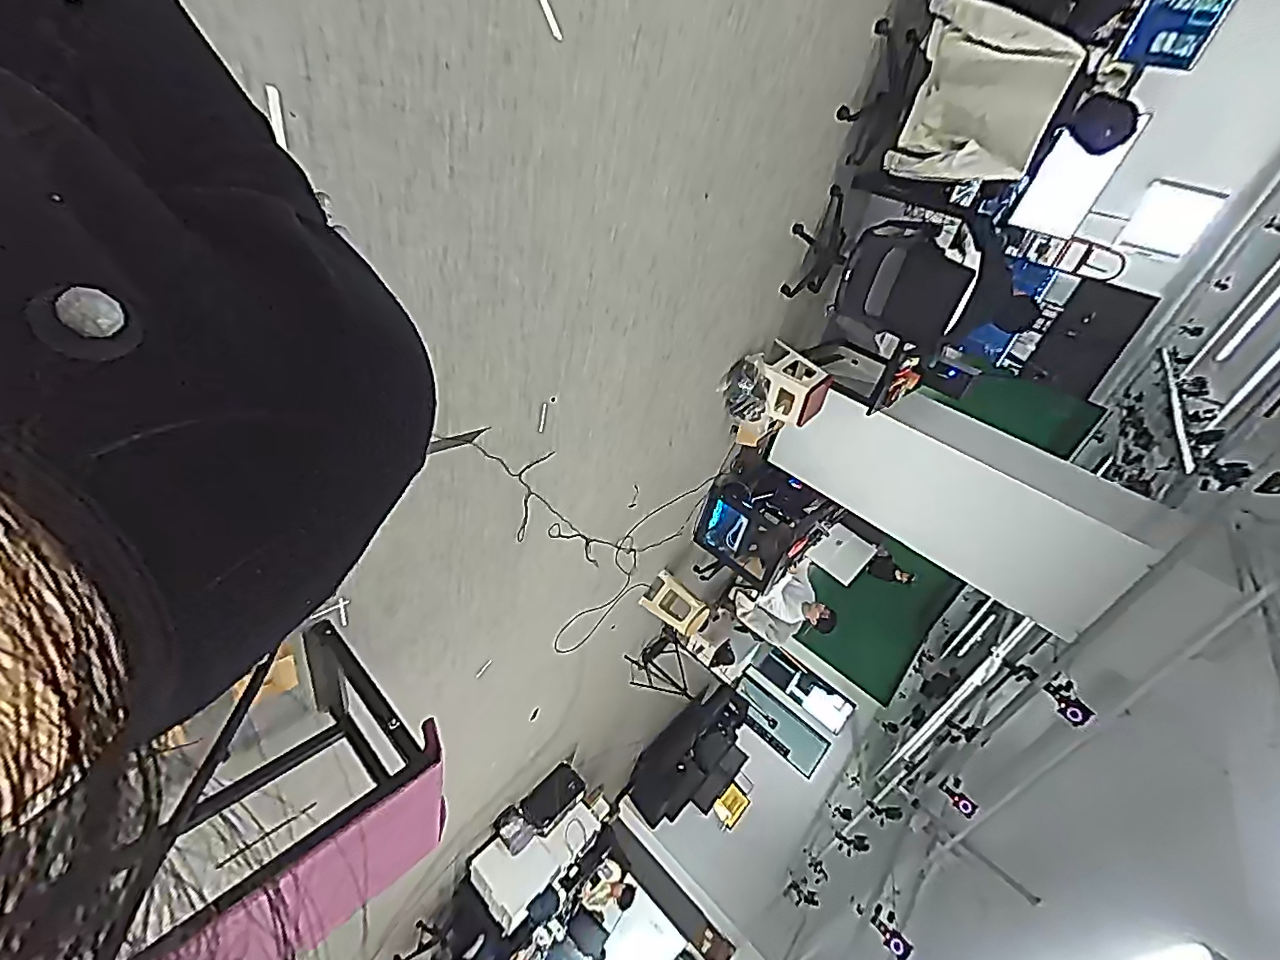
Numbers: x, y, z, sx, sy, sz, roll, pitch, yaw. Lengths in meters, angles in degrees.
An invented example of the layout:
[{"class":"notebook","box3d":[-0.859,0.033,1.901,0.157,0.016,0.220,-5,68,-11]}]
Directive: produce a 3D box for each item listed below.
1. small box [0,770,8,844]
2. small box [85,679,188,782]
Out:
[{"class":"small box","box3d":[-1.687,0.812,1.312,0.179,0.176,0.168,-6,126,-57]},{"class":"small box","box3d":[-1.459,0.720,1.571,0.168,0.176,0.179,-26,140,-44]}]
